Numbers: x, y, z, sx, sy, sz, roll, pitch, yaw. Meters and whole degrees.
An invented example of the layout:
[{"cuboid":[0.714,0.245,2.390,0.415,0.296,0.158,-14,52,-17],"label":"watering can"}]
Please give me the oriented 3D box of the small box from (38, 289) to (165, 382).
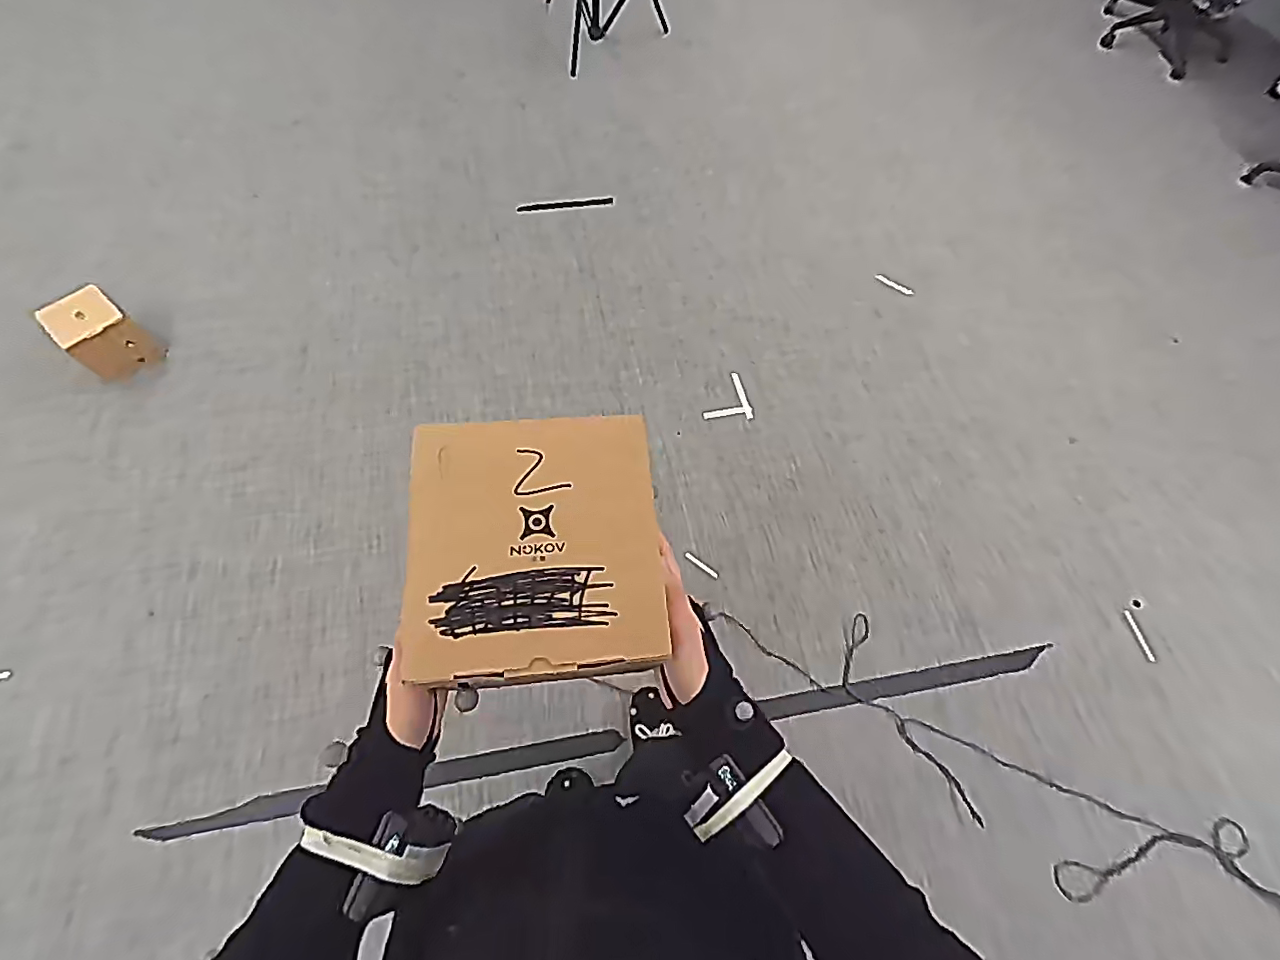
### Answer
[{"cuboid":[-1.560,-0.412,1.580,0.179,0.176,0.168,39,67,15],"label":"small box"}]
